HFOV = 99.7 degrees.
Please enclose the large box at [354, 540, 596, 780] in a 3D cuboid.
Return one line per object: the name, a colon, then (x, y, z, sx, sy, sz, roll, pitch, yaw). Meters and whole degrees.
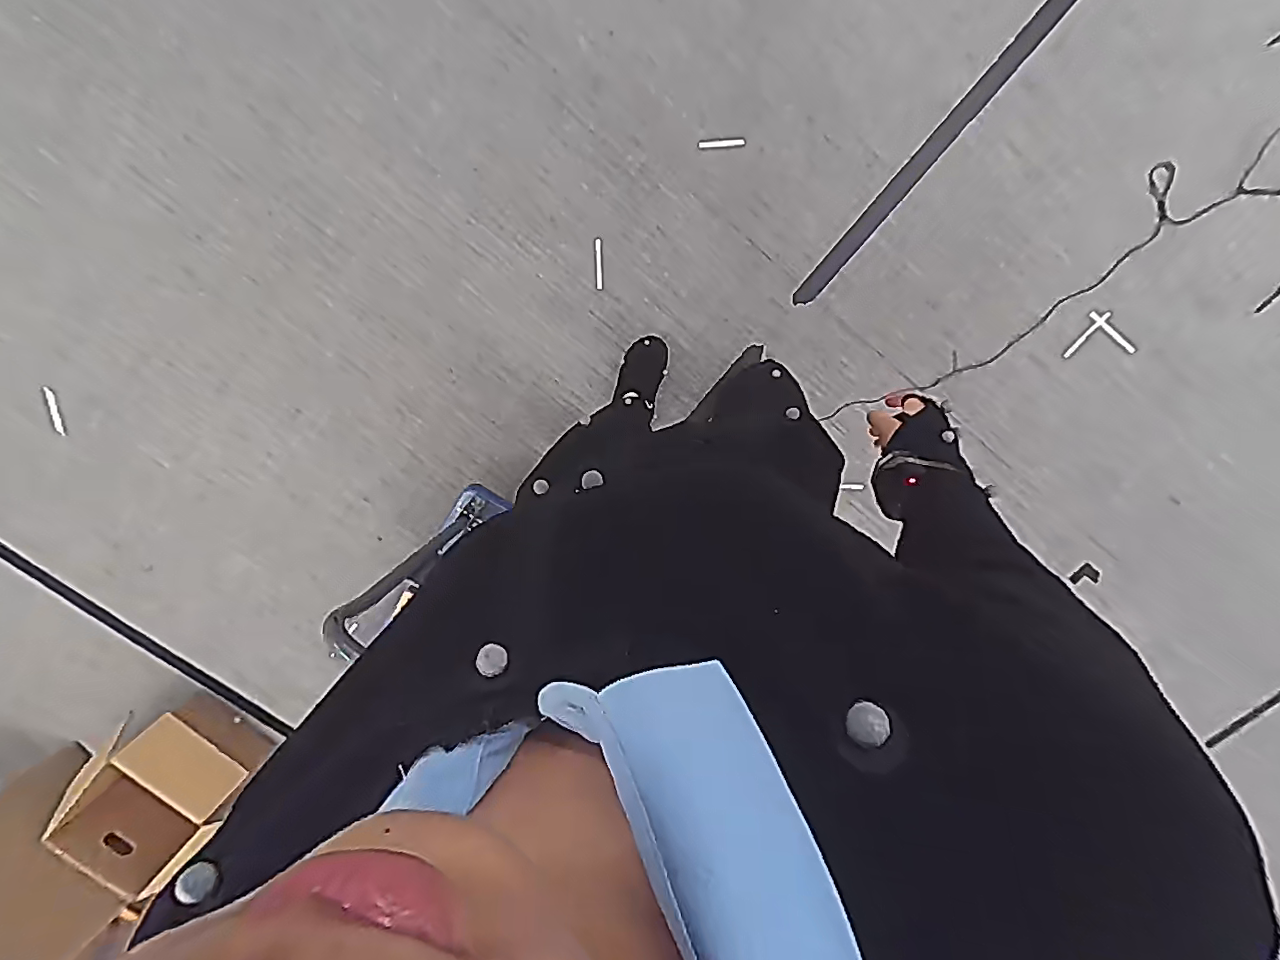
large box: (-0.363, 0.406, 1.283, 0.408, 0.320, 0.320, 30, 103, -4)
